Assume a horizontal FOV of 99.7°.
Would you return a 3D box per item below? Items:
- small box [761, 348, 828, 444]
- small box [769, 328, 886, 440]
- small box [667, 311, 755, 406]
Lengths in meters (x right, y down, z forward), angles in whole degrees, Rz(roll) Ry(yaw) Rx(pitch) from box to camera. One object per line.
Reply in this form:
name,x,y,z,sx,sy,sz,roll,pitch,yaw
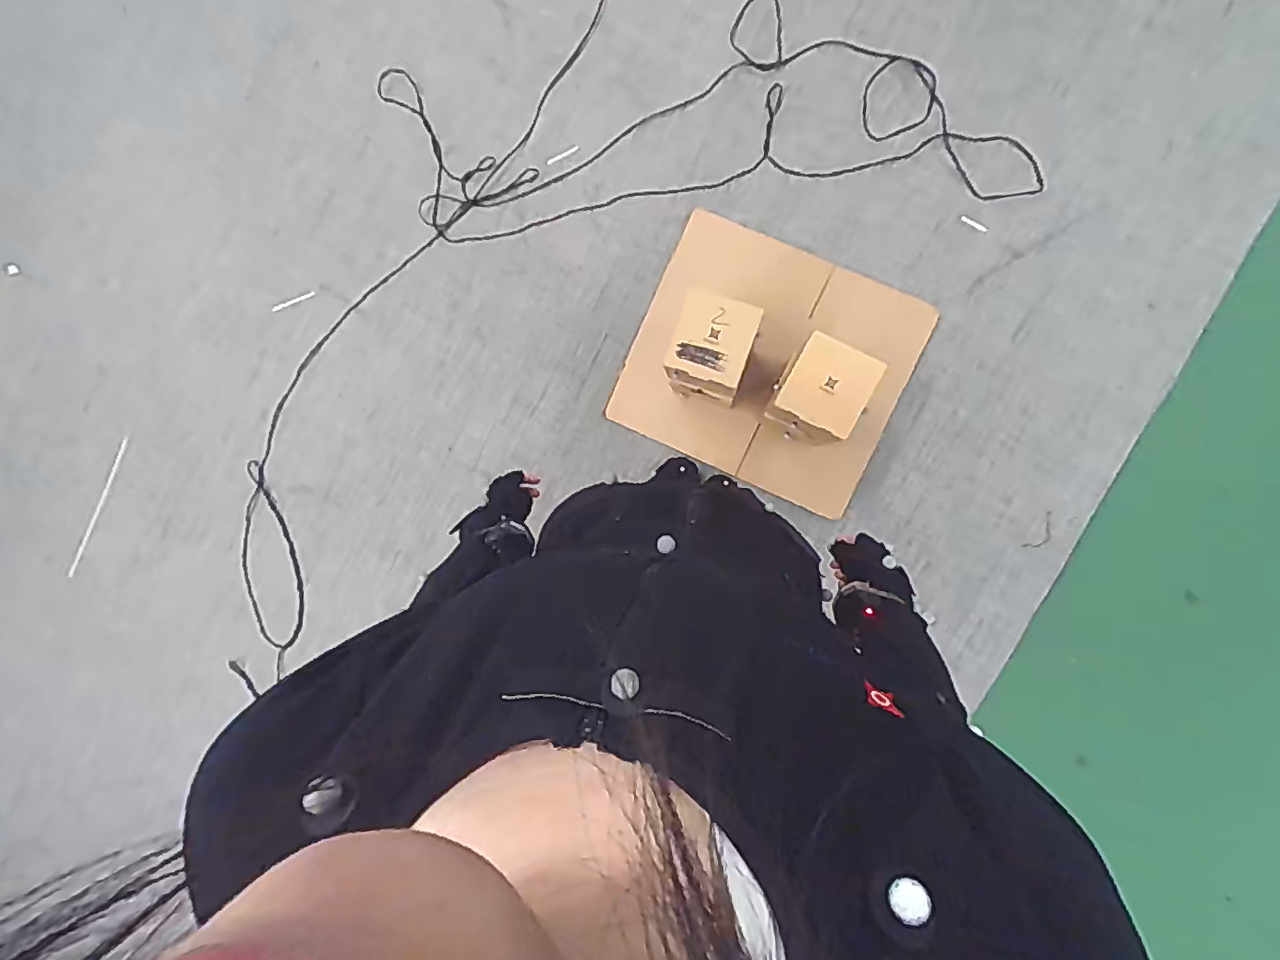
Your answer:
small box,0.409,-0.201,1.341,0.168,0.176,0.179,25,95,7
small box,0.395,-0.201,1.179,0.168,0.176,0.179,28,96,5
small box,0.178,-0.297,1.361,0.168,0.176,0.179,21,94,5
